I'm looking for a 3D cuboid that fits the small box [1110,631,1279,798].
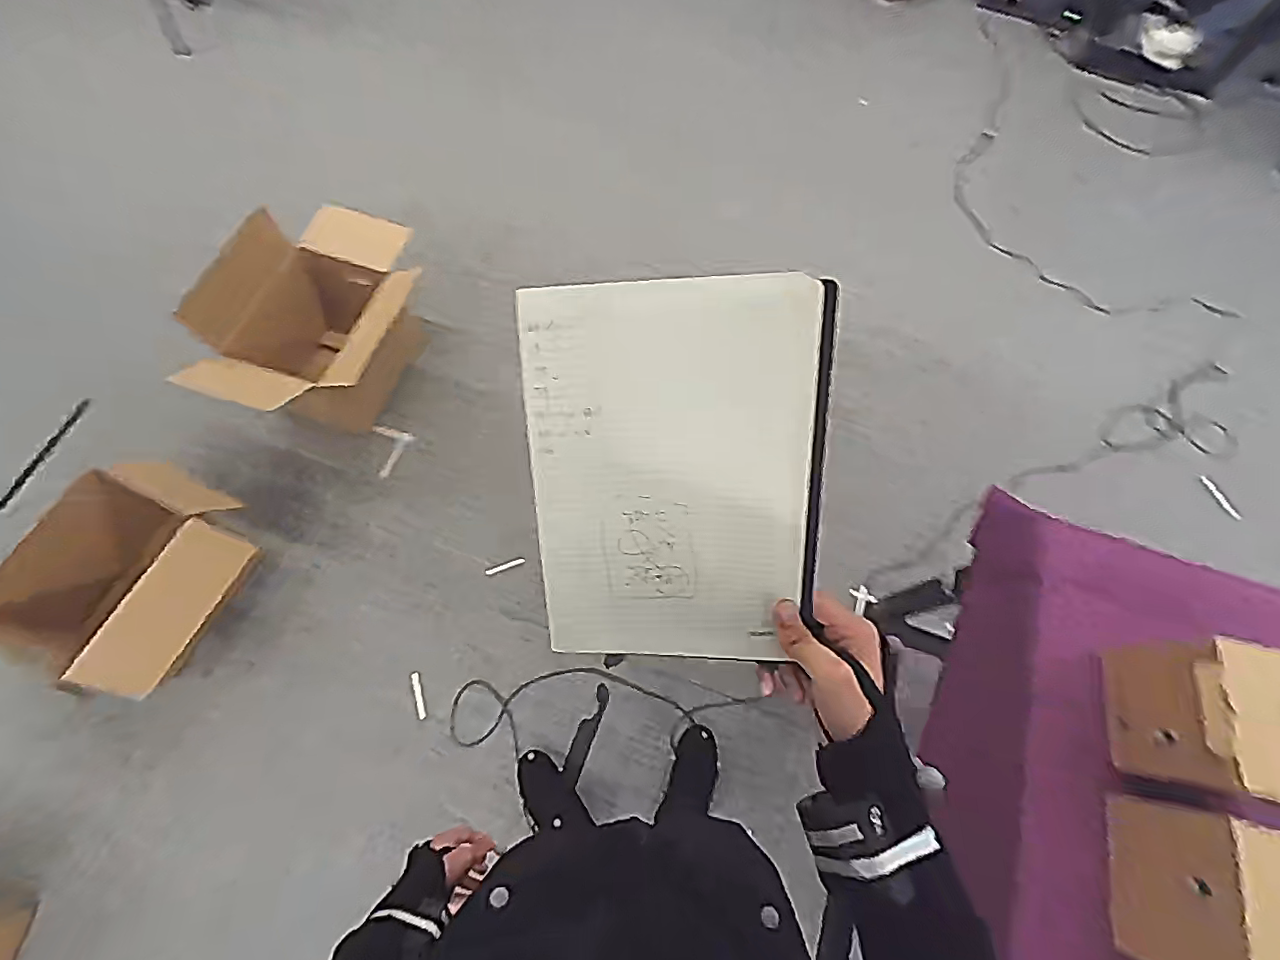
[{"bbox_3d":[0.752,0.302,0.693,0.179,0.176,0.168,12,70,3],"label":"small box"}]
